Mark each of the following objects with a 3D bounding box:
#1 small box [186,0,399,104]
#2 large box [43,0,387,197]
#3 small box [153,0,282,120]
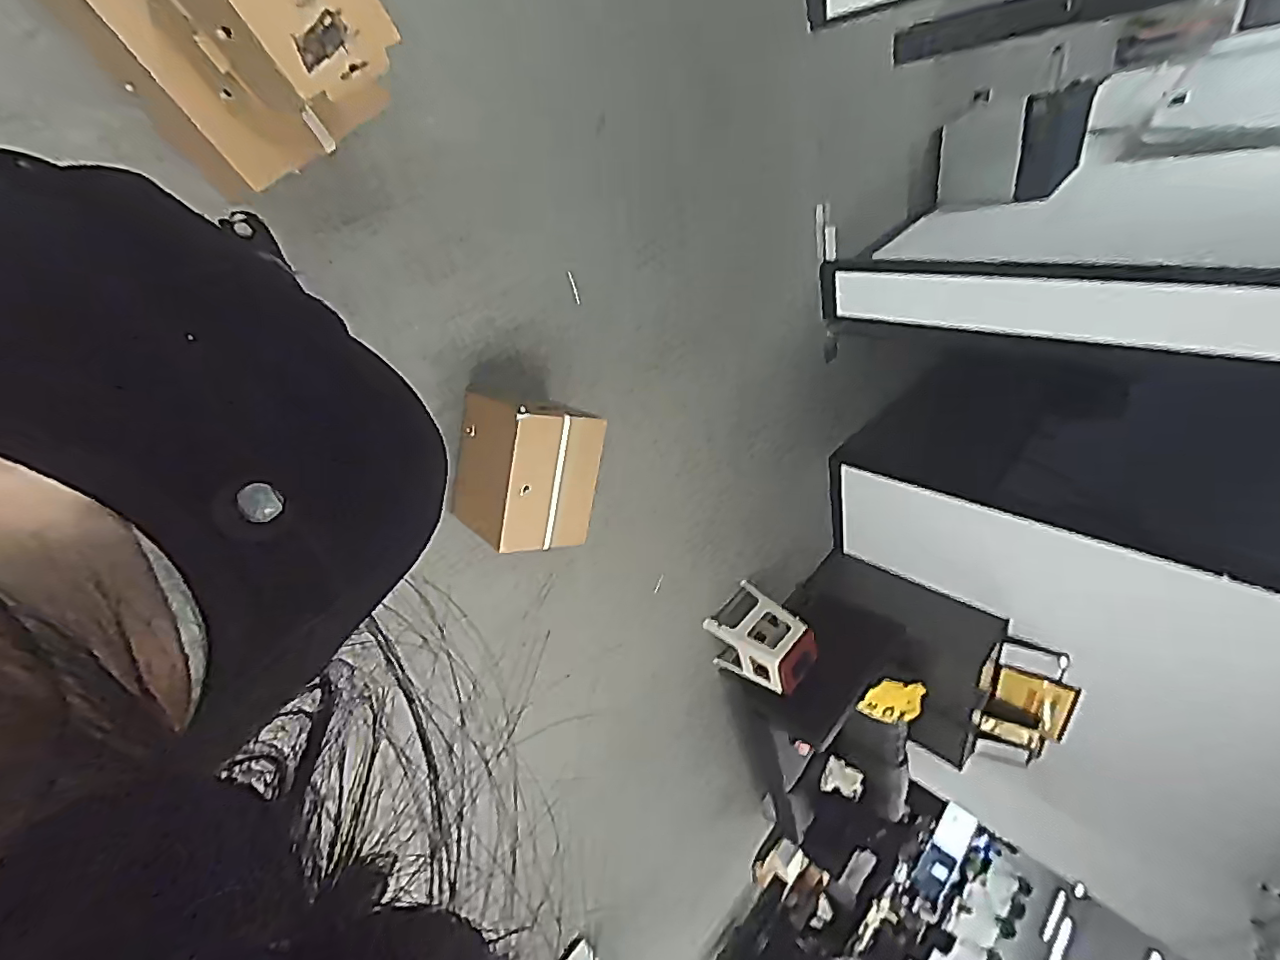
[{"bbox_3d":[-0.455,-0.613,0.690,0.168,0.176,0.179,-49,135,-17],"label":"small box"},{"bbox_3d":[-0.742,-0.774,0.936,0.320,0.320,0.408,-50,134,-18],"label":"large box"},{"bbox_3d":[-0.569,-0.664,0.797,0.179,0.176,0.168,-48,135,-18],"label":"small box"}]
